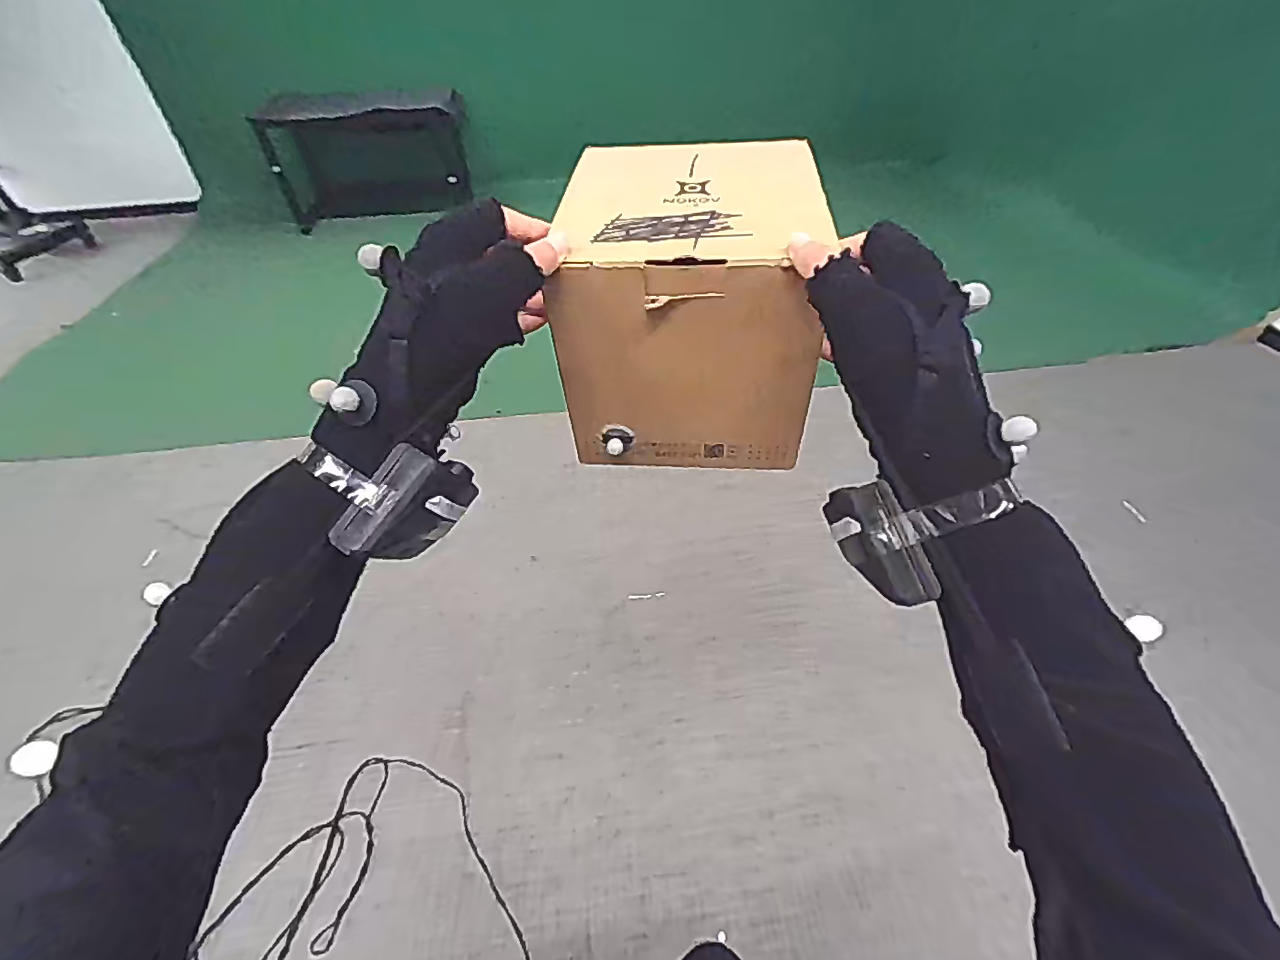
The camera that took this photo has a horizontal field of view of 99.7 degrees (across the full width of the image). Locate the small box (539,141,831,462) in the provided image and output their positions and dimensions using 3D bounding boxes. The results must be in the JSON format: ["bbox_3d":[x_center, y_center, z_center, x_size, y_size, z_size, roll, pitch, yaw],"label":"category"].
[{"bbox_3d":[0.036,-0.129,0.408,0.168,0.176,0.179,2,49,6],"label":"small box"}]
